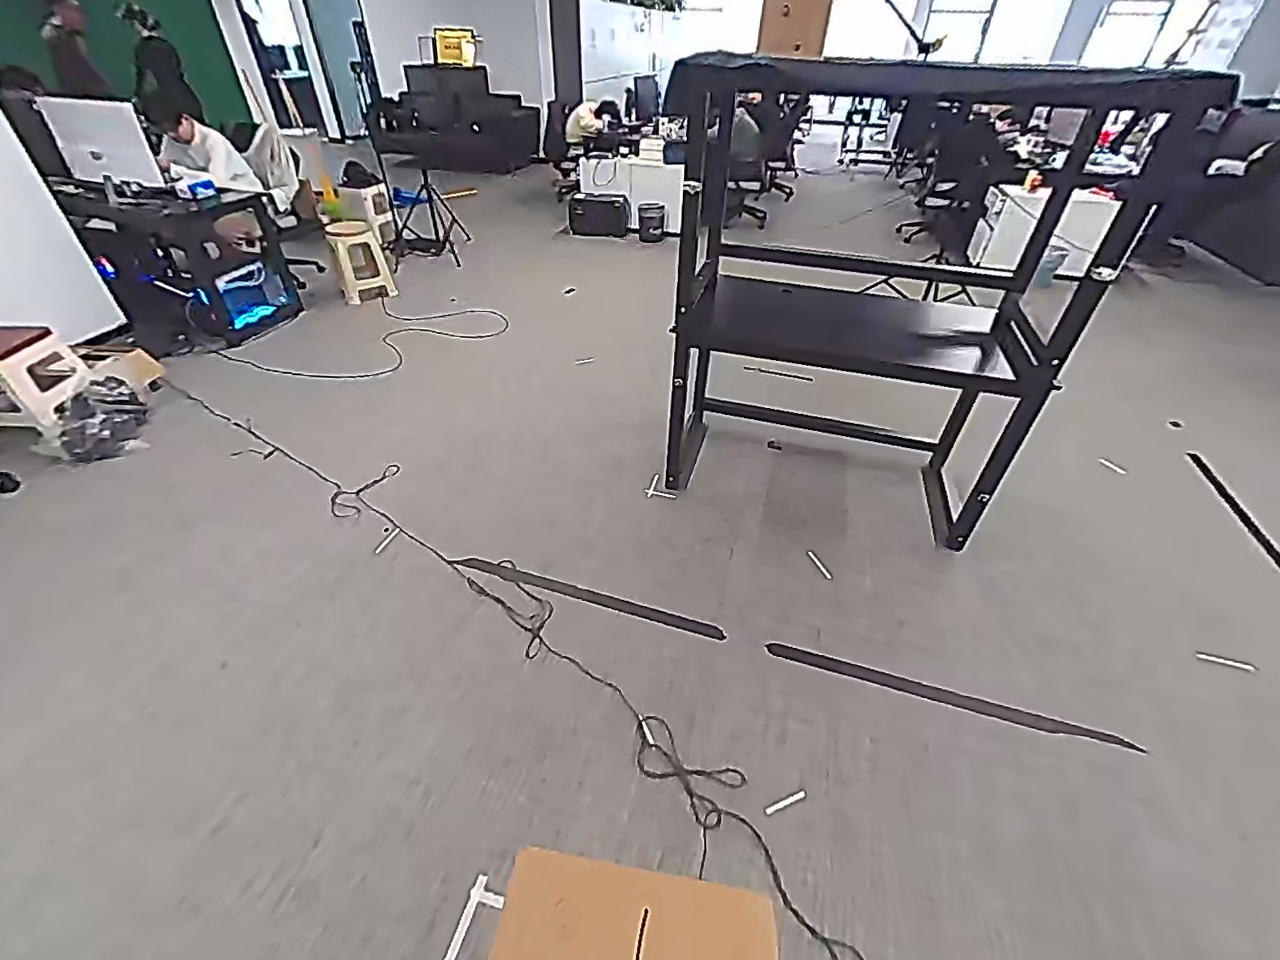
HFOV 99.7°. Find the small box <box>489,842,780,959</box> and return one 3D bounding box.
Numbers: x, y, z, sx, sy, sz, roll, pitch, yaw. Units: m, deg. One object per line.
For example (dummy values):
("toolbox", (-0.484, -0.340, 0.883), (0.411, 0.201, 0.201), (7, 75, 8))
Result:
("small box", (-0.016, 0.357, 0.313), (0.168, 0.176, 0.179), (11, 32, 1))

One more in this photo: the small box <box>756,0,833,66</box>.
("small box", (0.395, -1.163, 1.376), (0.168, 0.176, 0.179), (12, 38, 11))
